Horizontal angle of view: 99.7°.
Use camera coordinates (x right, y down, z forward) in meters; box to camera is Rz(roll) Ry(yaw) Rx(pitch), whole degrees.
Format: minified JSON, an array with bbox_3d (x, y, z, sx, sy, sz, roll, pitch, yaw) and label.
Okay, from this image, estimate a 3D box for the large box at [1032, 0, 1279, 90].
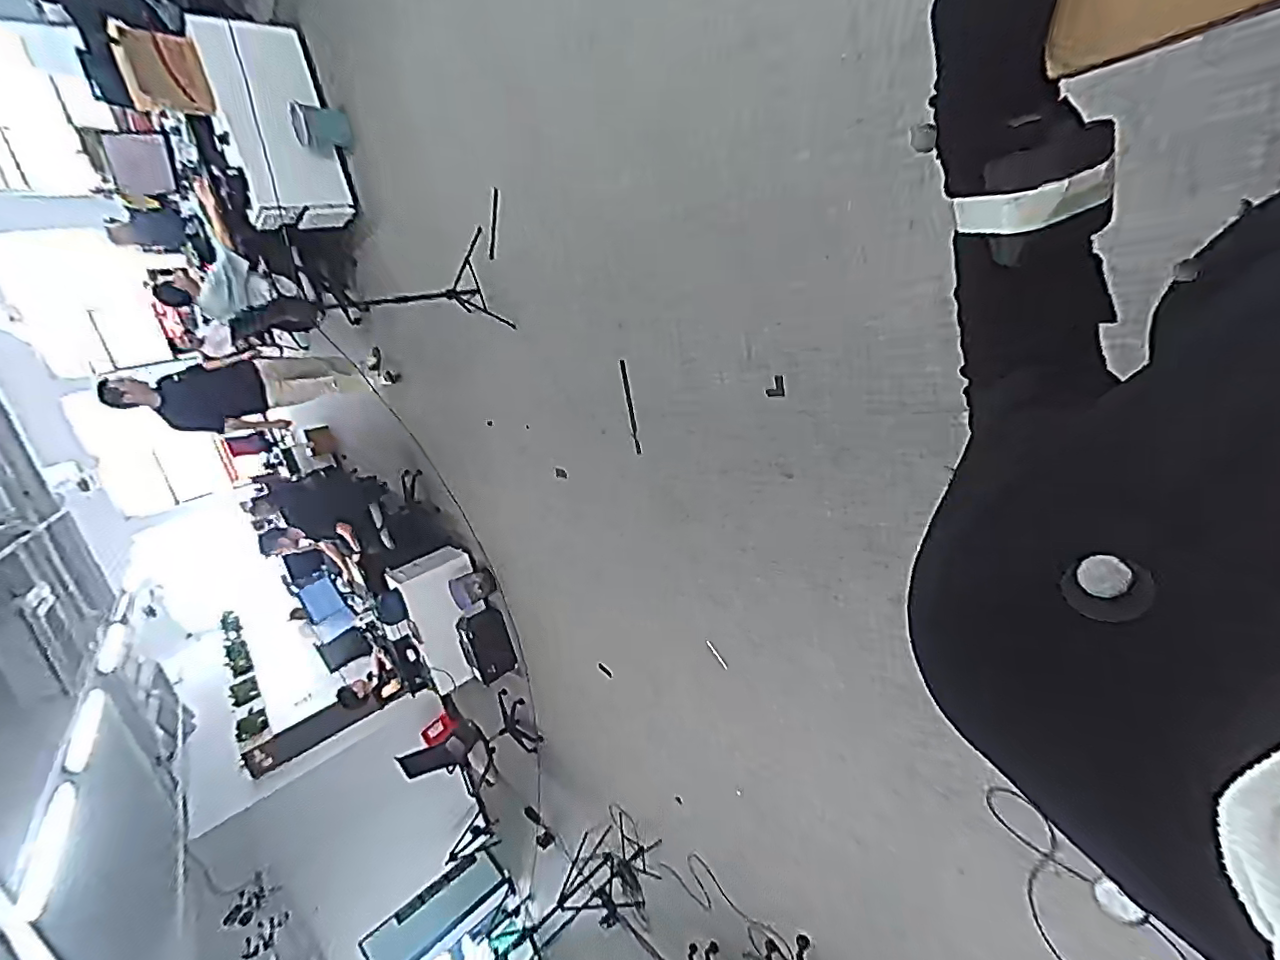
[{"bbox_3d":[0.404,-0.405,0.174,0.408,0.320,0.320,8,124,48],"label":"large box"}]
